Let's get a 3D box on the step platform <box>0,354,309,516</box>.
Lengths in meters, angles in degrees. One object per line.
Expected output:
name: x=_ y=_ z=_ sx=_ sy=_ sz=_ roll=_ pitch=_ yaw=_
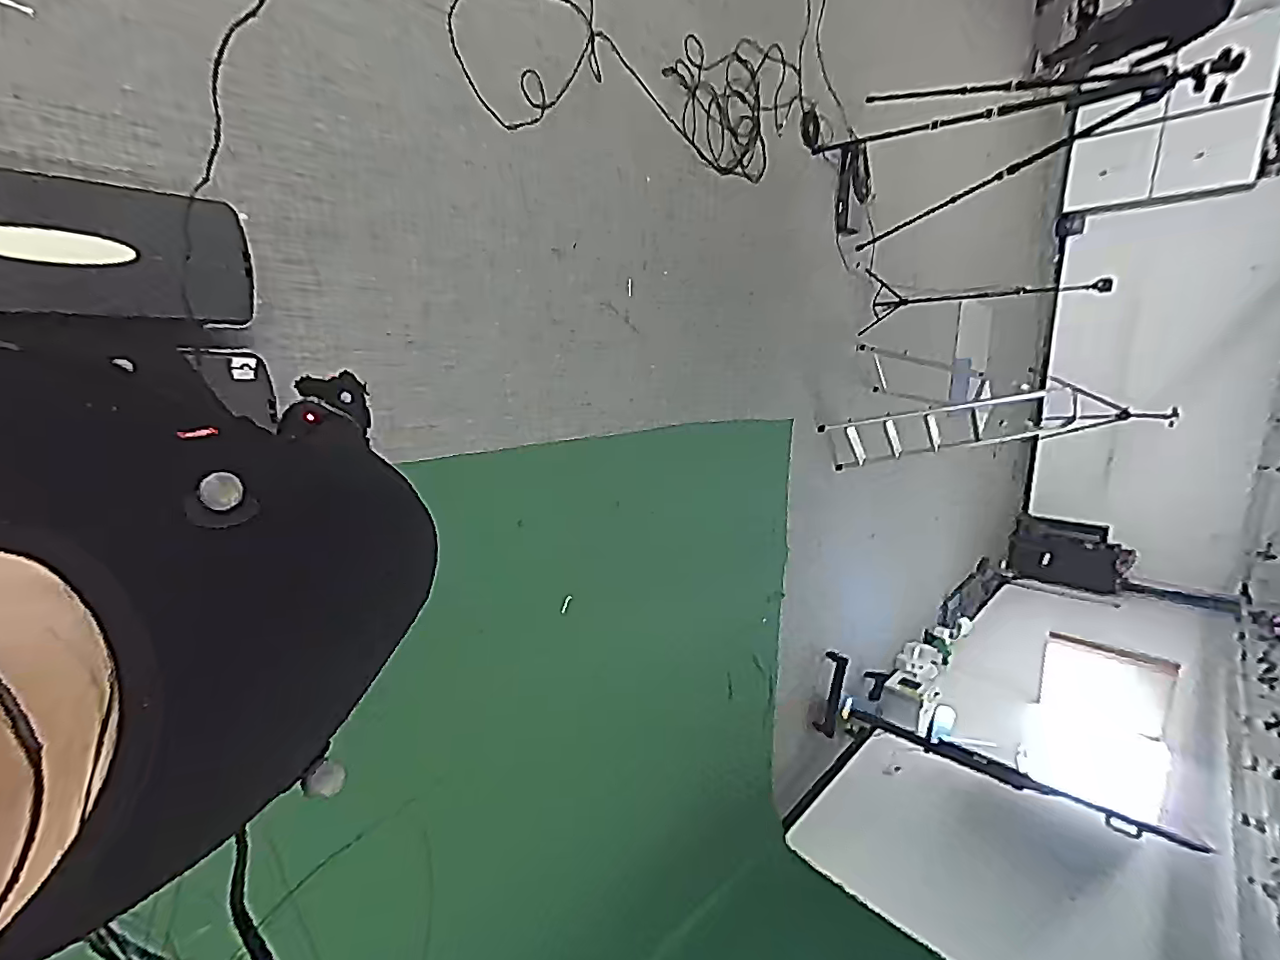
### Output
step platform: x=-1.024 y=-0.086 z=0.994 sx=0.684 sy=0.204 sz=0.286 roll=-13 pitch=107 yaw=-45
